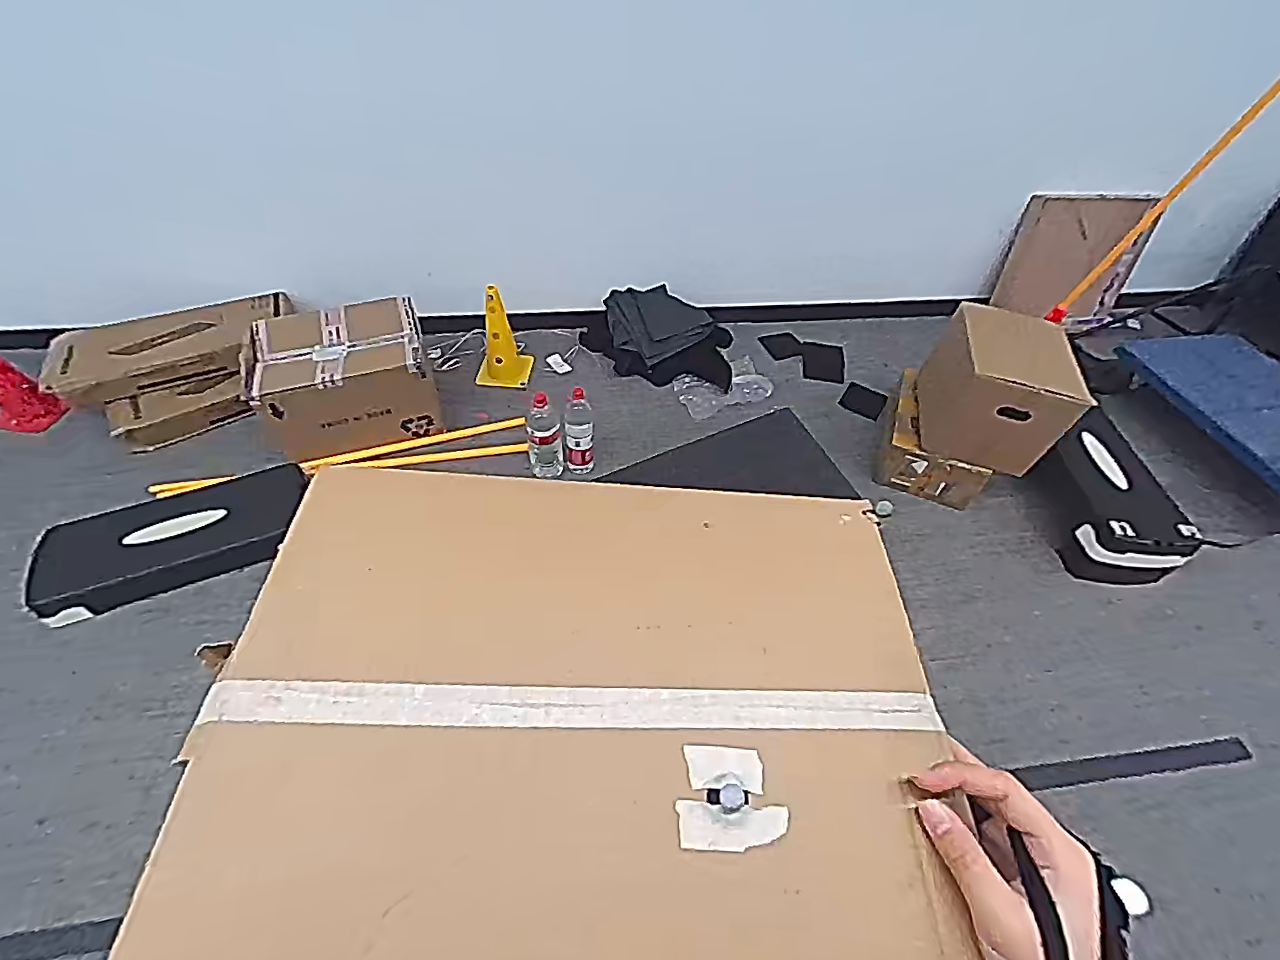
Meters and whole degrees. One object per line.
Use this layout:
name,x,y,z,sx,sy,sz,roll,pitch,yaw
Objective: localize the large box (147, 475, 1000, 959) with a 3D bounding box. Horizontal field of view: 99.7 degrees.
large box,-0.039,0.220,0.436,0.408,0.320,0.320,5,54,-7
